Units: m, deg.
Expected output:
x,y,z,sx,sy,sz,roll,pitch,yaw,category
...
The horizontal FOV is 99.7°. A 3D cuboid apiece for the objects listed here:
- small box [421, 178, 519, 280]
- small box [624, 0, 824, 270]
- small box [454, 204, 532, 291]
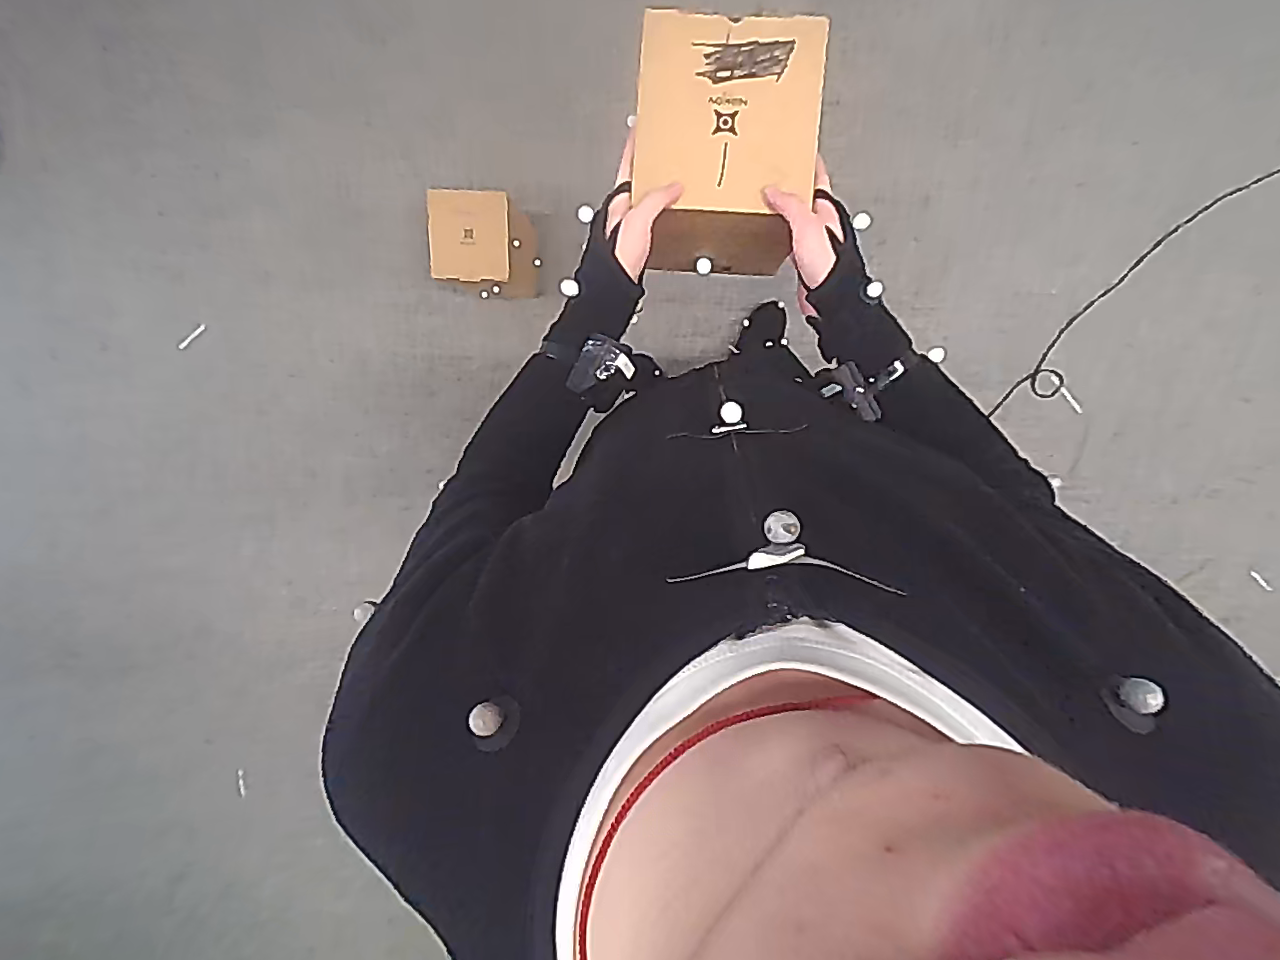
x,y,z,sx,sy,sz,roll,pitch,yaw,category
-0.365,-0.542,1.191,0.168,0.176,0.179,1,102,-2,small box
0.077,-0.340,0.564,0.168,0.176,0.179,6,95,3,small box
-0.366,-0.579,1.349,0.168,0.176,0.179,3,103,-1,small box
